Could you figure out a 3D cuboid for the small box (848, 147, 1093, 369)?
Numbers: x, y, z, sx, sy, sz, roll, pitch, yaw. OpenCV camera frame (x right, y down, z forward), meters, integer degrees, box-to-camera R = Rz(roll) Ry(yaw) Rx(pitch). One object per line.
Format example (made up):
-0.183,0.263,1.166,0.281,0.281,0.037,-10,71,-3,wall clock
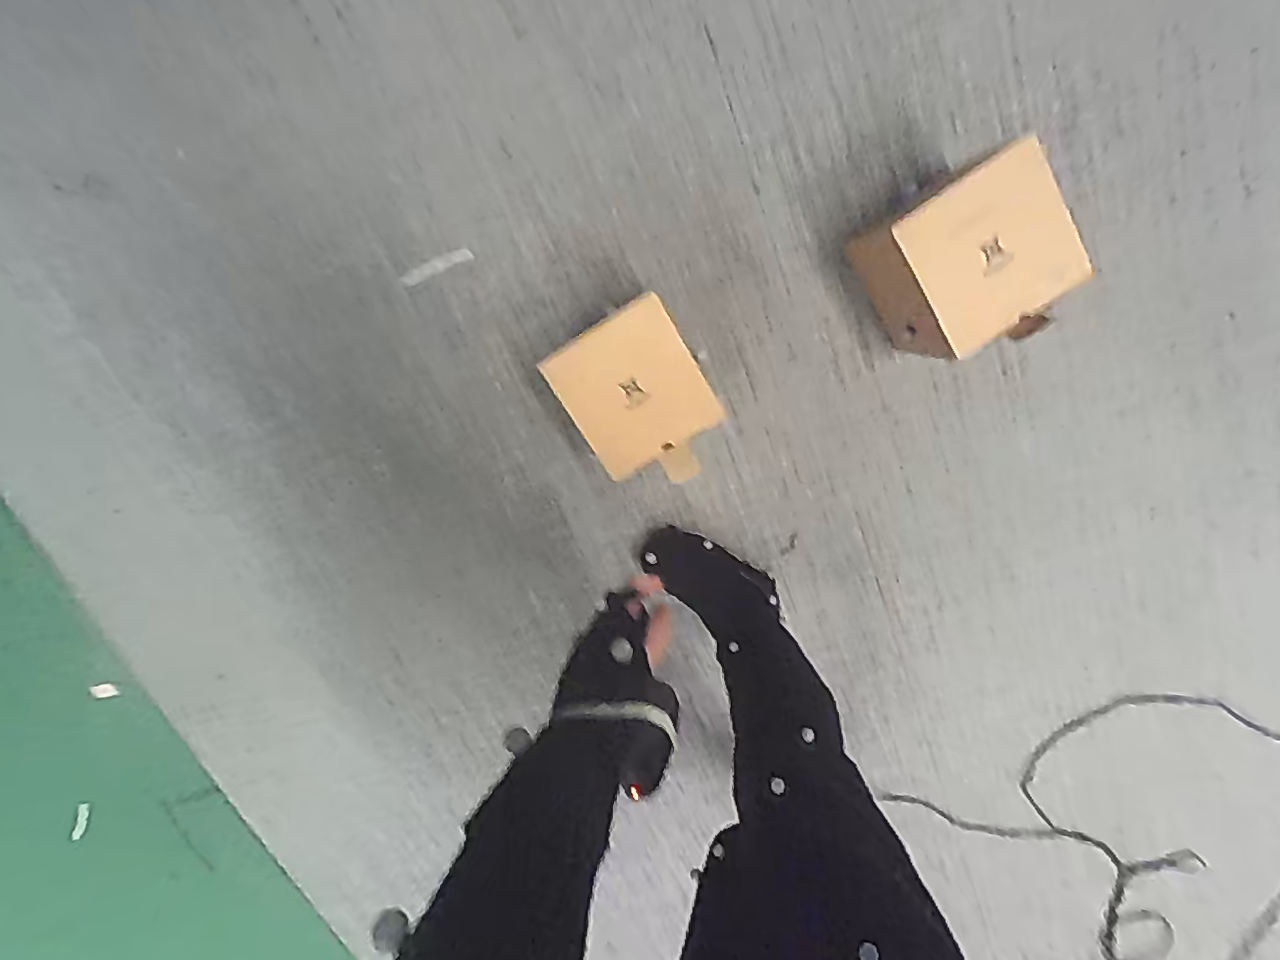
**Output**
0.394,-0.263,0.675,0.168,0.176,0.179,-34,102,10,small box

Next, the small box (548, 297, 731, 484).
0.002,-0.125,0.734,0.168,0.176,0.179,-30,104,11,small box
